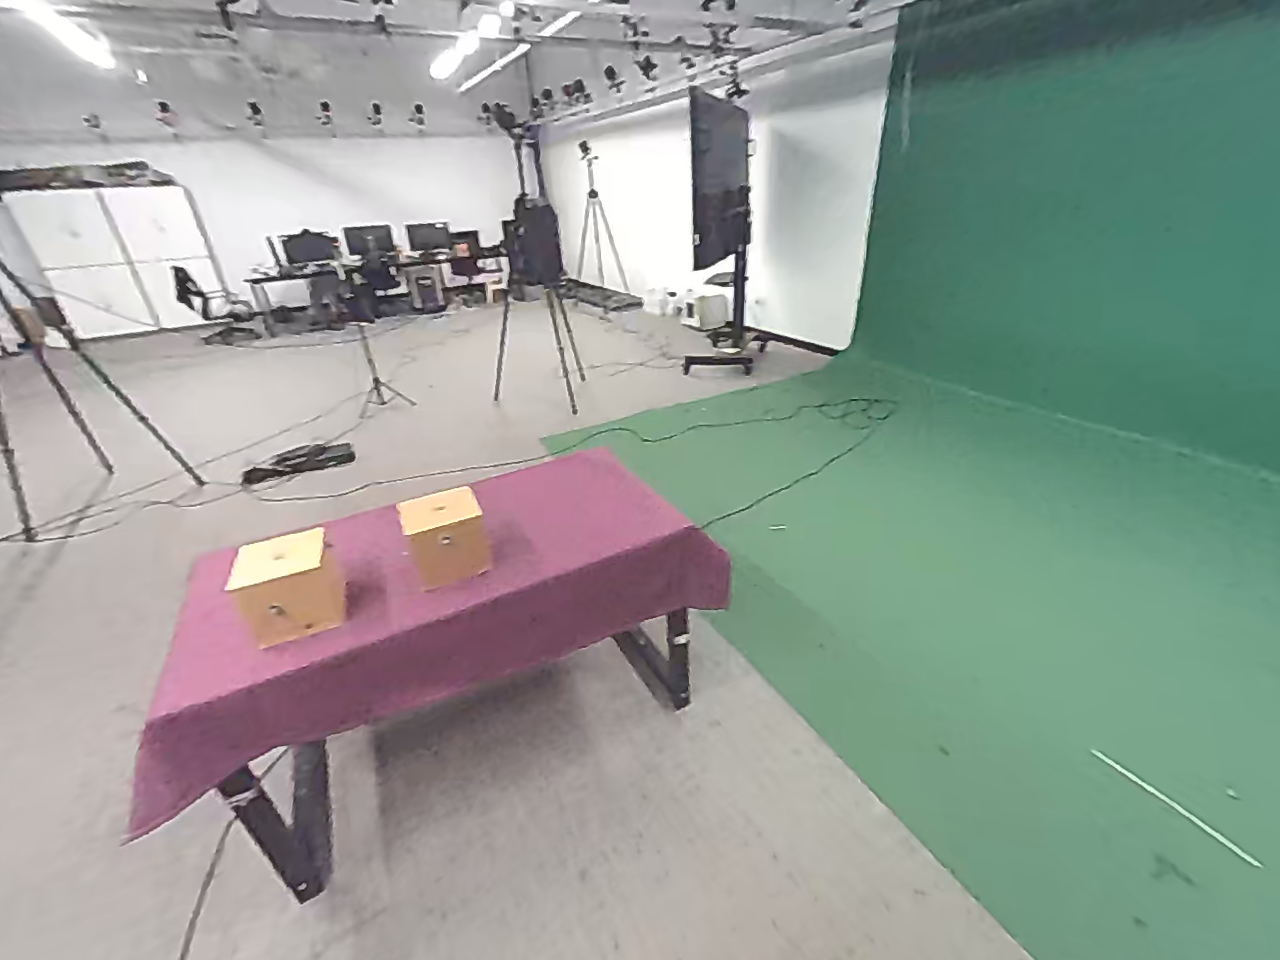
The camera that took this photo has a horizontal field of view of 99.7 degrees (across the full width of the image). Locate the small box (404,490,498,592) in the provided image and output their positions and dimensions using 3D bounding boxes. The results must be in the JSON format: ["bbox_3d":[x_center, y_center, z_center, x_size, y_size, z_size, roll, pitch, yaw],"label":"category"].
[{"bbox_3d":[-0.468,0.151,1.343,0.179,0.176,0.168,-16,31,-21],"label":"small box"}]

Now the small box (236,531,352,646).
[{"bbox_3d":[-0.758,0.245,1.206,0.168,0.176,0.179,-15,29,-20],"label":"small box"}]
